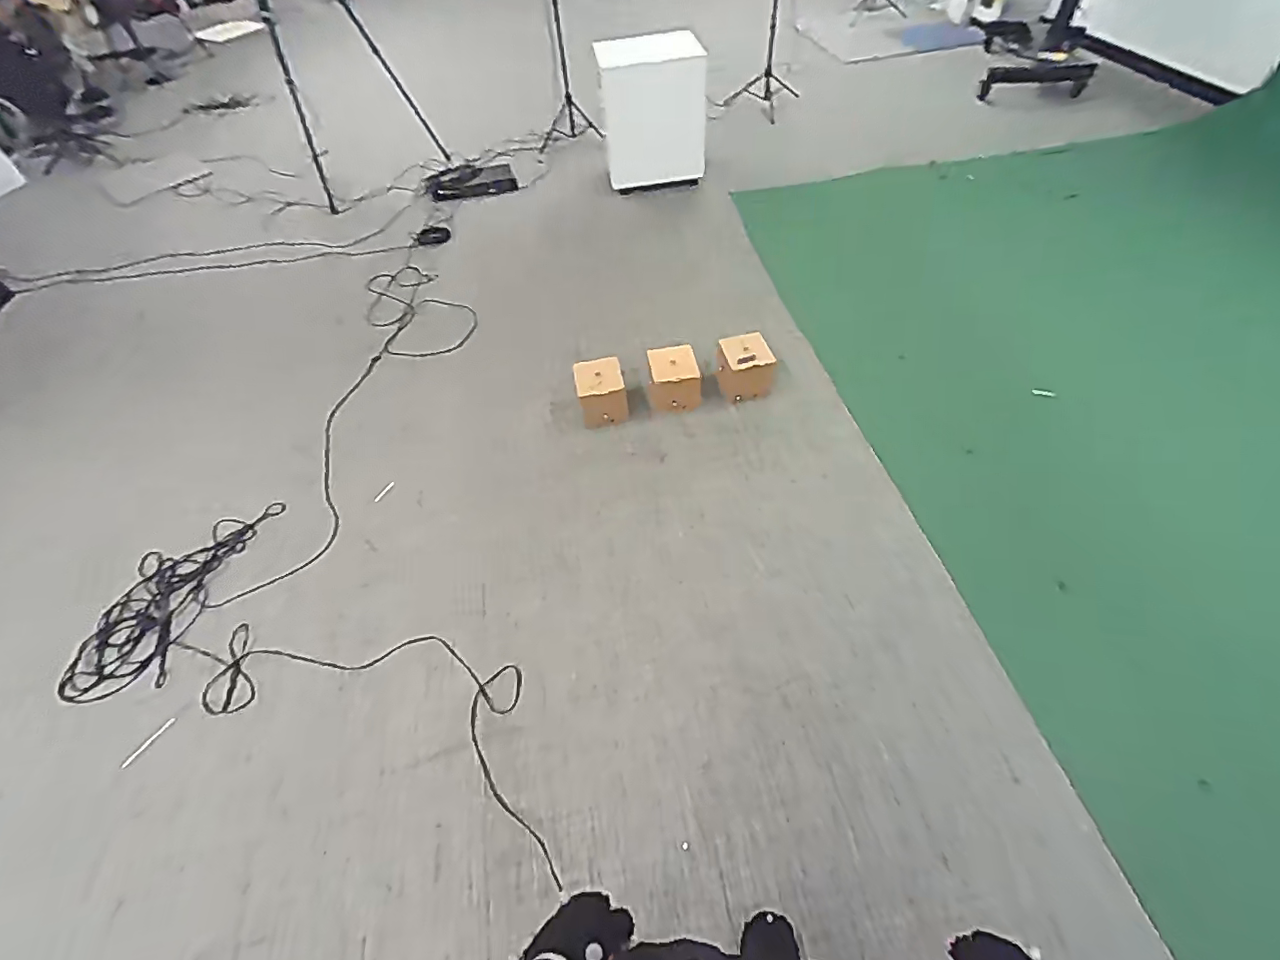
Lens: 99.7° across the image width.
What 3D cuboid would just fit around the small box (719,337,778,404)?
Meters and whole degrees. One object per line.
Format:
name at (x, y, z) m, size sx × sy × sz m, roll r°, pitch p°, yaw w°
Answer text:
small box at (0.397, -0.399, 2.008) m, size 0.168 × 0.176 × 0.179 m, roll -12°, pitch 52°, yaw -5°

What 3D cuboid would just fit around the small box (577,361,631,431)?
small box at (-0.131, -0.304, 1.972) m, size 0.168 × 0.176 × 0.179 m, roll -11°, pitch 53°, yaw -3°

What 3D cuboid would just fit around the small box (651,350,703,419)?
small box at (0.133, -0.351, 1.992) m, size 0.168 × 0.176 × 0.179 m, roll -9°, pitch 53°, yaw -3°
